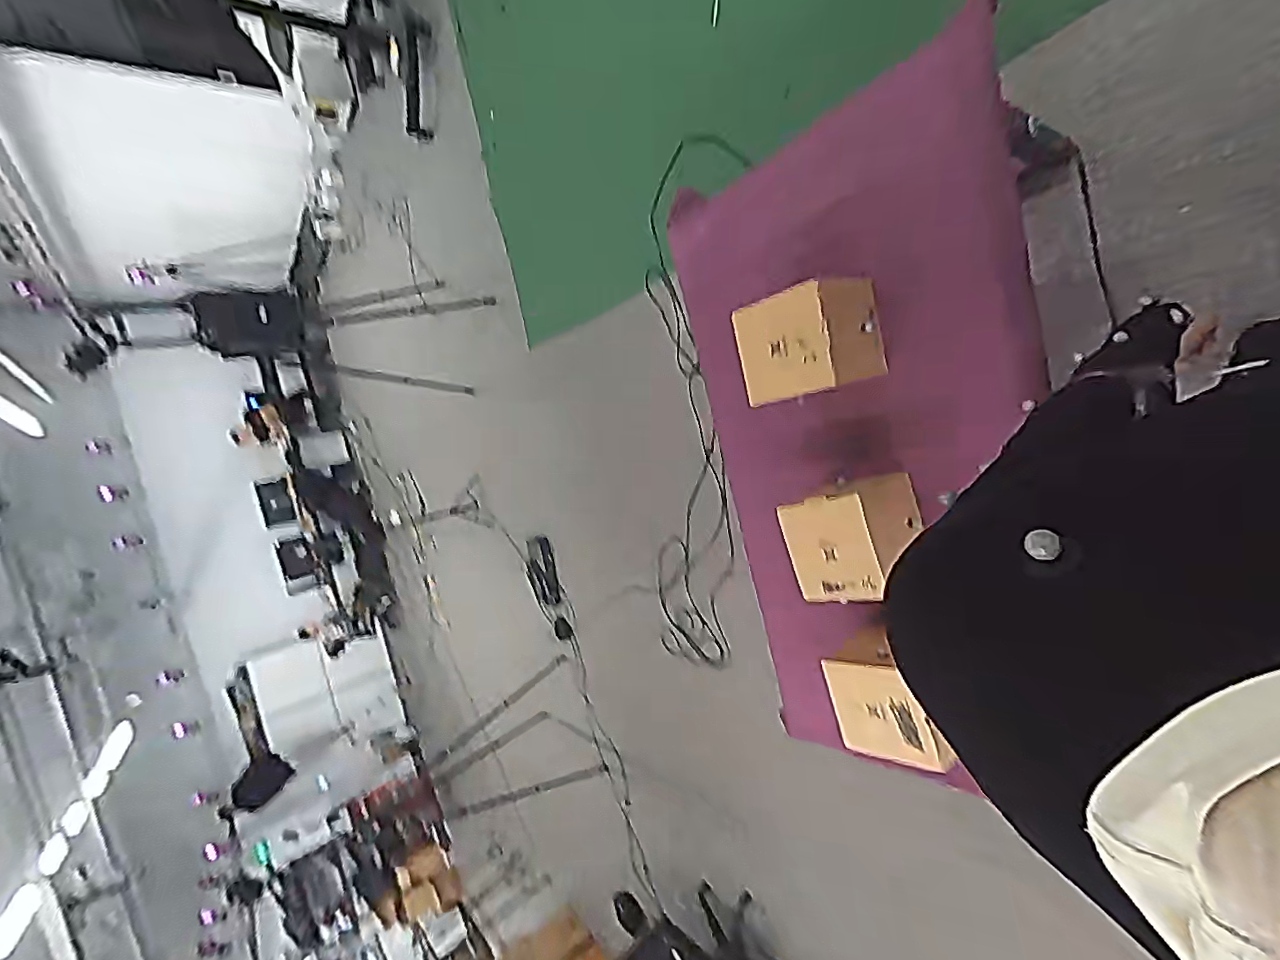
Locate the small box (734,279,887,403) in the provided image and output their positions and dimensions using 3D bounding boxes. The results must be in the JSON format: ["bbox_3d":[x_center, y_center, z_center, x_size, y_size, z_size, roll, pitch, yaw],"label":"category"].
[{"bbox_3d":[0.297,-0.238,0.942,0.179,0.176,0.168,-7,98,52],"label":"small box"}]

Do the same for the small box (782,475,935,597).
[{"bbox_3d":[0.386,0.096,0.955,0.168,0.176,0.179,-17,89,53],"label":"small box"}]

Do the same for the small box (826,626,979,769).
[{"bbox_3d":[0.466,0.367,0.952,0.179,0.176,0.168,-17,89,53],"label":"small box"}]
